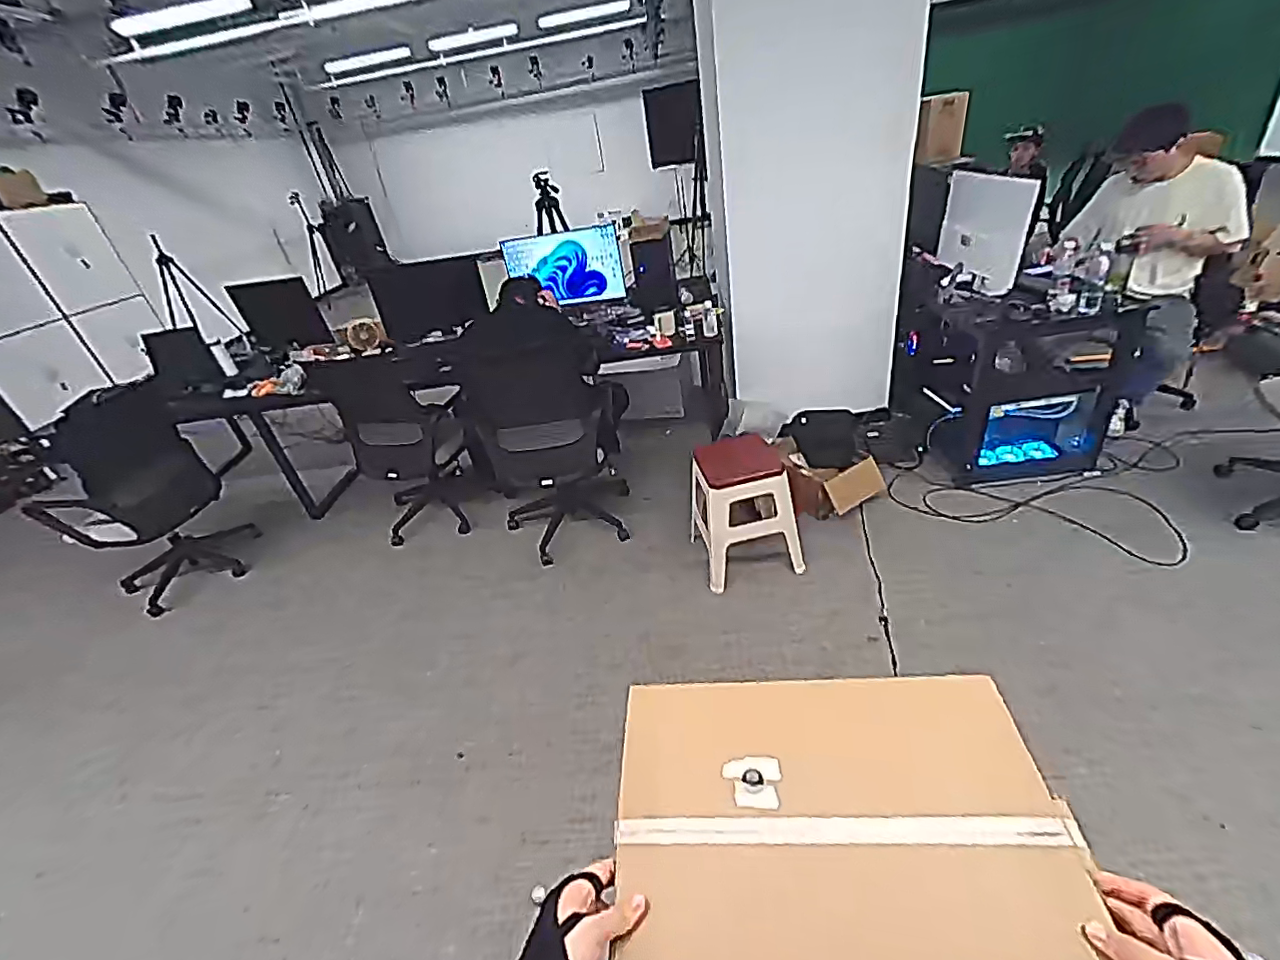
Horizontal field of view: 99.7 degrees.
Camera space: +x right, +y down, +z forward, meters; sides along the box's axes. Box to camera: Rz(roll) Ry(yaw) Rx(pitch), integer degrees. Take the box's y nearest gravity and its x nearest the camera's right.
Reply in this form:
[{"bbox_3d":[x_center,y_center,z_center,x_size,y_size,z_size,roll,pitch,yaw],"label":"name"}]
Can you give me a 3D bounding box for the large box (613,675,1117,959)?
[{"bbox_3d":[0.204,0.451,0.602,0.408,0.320,0.320,-7,36,9],"label":"large box"}]
